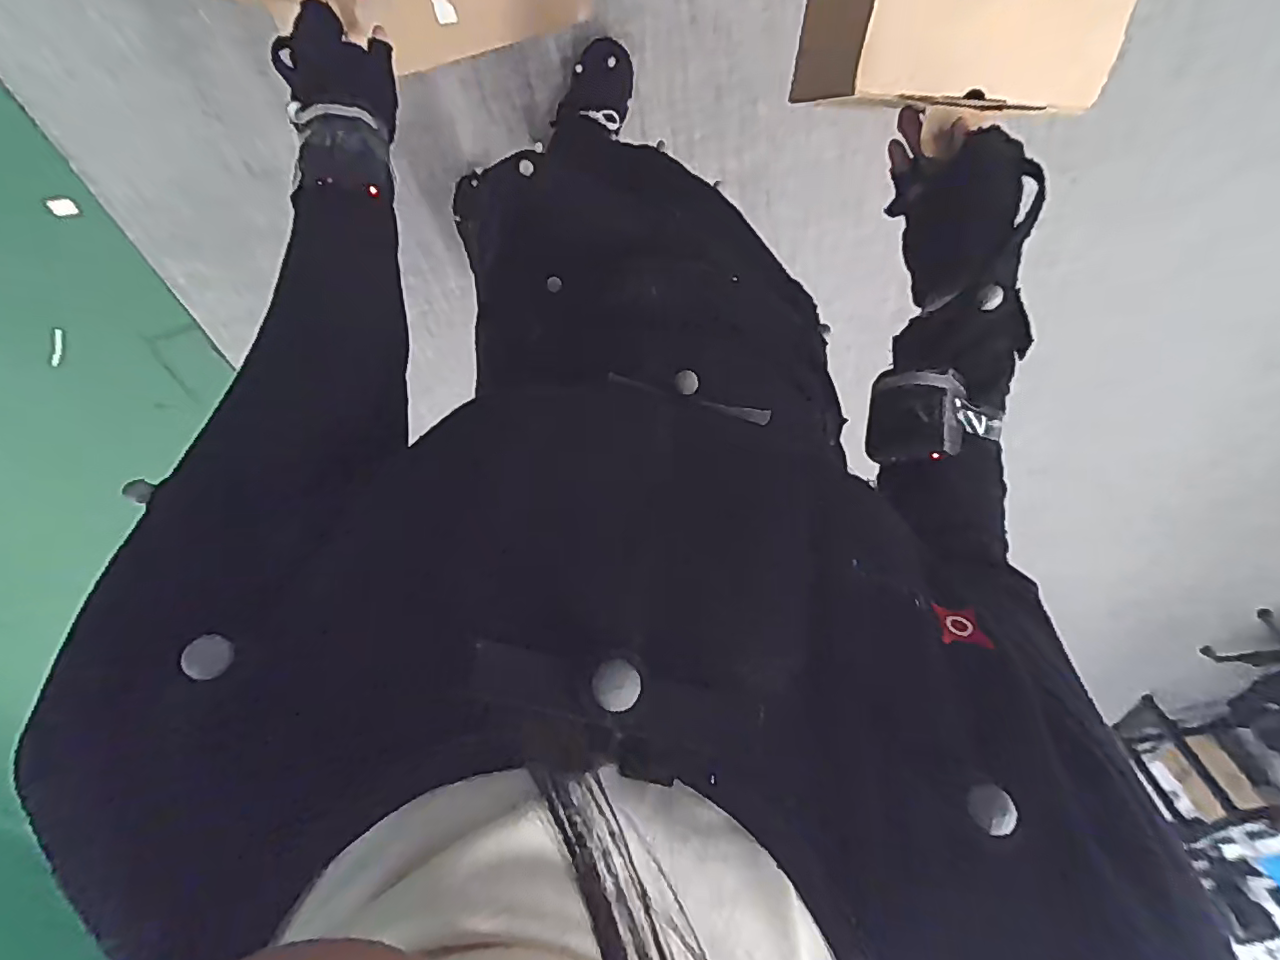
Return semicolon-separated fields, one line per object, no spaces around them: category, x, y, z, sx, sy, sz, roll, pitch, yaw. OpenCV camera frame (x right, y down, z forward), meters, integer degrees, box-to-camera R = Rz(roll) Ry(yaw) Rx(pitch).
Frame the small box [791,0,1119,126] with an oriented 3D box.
small box;0.218;-0.366;0.389;0.168;0.176;0.179;2;123;-2

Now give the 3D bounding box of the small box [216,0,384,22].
small box;-0.277;-0.505;0.442;0.168;0.176;0.179;-10;130;3
